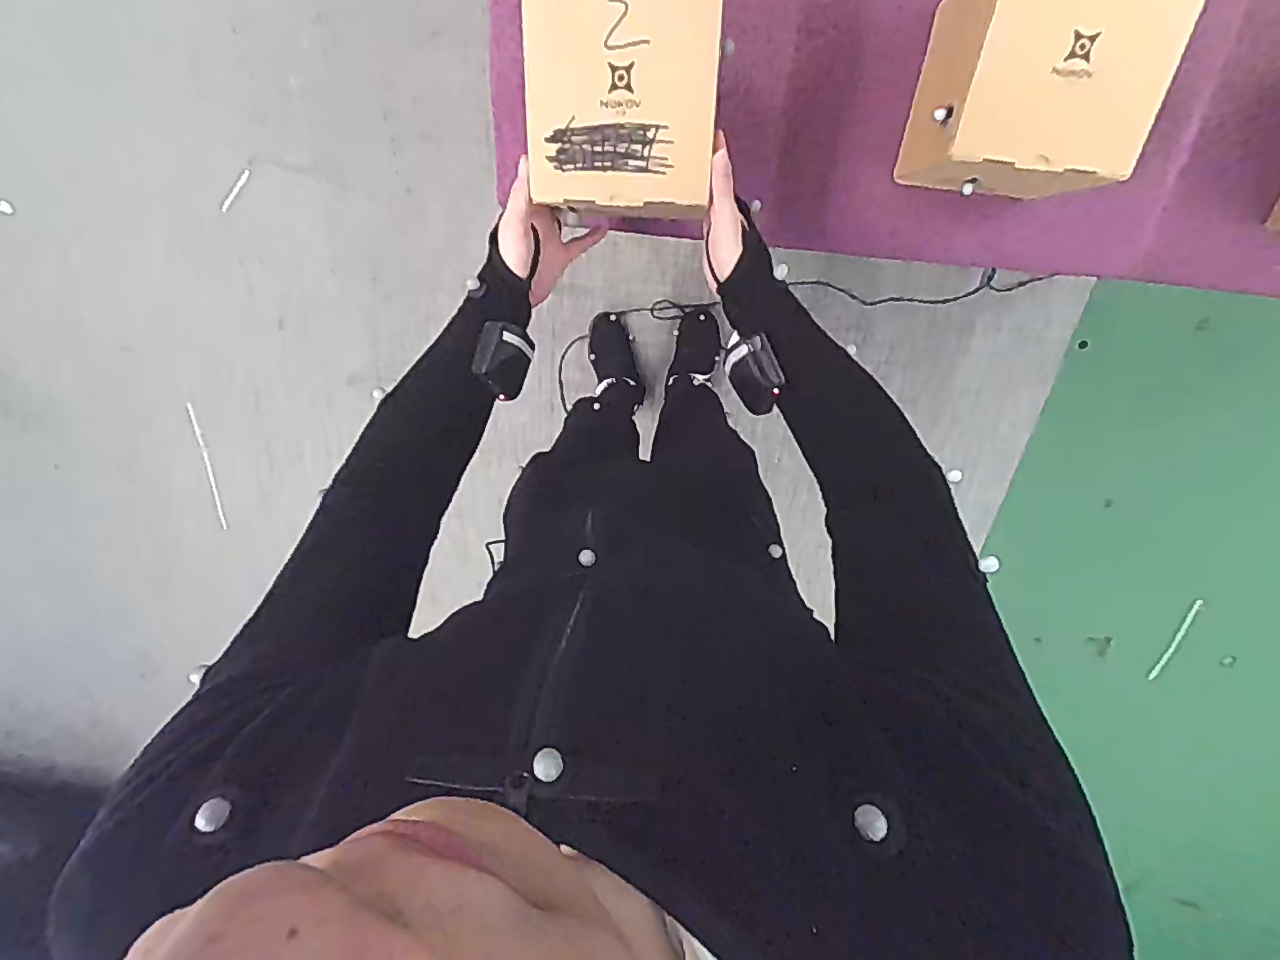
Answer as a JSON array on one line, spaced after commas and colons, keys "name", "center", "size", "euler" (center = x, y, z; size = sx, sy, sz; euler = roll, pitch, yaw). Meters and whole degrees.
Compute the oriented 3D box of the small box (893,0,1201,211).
[{"name": "small box", "center": [0.386, -0.385, 0.554], "size": [0.168, 0.176, 0.179], "euler": [8, 115, 2]}]
